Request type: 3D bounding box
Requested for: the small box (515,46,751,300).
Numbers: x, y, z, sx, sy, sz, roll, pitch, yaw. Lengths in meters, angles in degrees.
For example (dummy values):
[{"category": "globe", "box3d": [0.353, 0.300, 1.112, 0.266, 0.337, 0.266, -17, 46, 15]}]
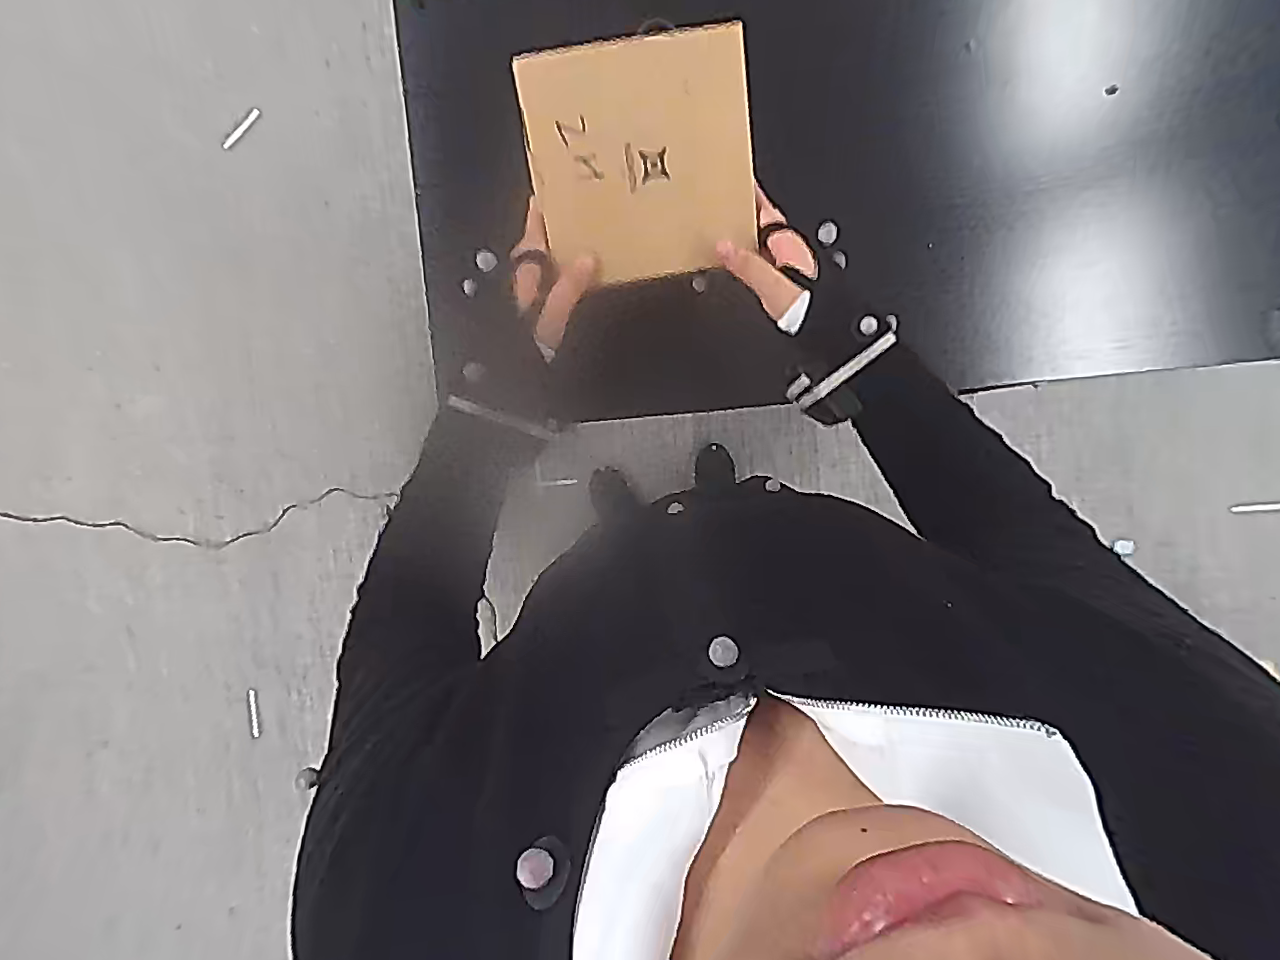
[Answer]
[{"category": "small box", "box3d": [-0.006, -0.269, 0.512, 0.179, 0.176, 0.168, -9, 108, 0]}]
